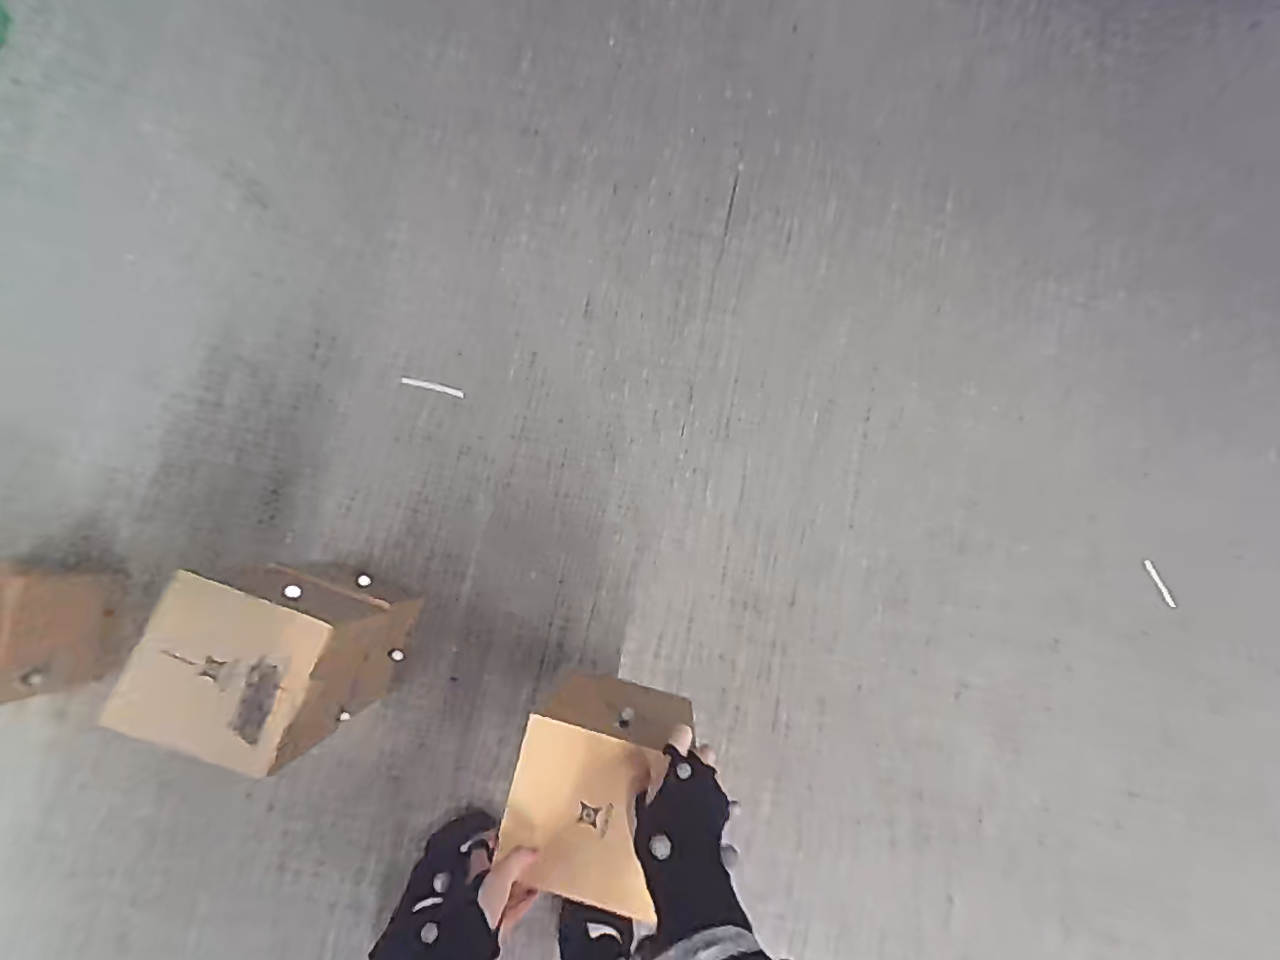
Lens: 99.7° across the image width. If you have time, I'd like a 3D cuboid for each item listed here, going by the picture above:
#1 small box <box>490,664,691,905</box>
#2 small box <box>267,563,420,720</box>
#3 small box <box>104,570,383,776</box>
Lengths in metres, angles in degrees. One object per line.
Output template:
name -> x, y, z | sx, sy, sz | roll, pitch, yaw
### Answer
small box -> -0.048, 0.332, 0.631 | 0.179, 0.176, 0.168 | 14, 89, 3
small box -> -0.456, 0.226, 0.803 | 0.179, 0.176, 0.168 | 20, 79, -3
small box -> -0.441, 0.209, 0.639 | 0.179, 0.176, 0.168 | 21, 80, -1
